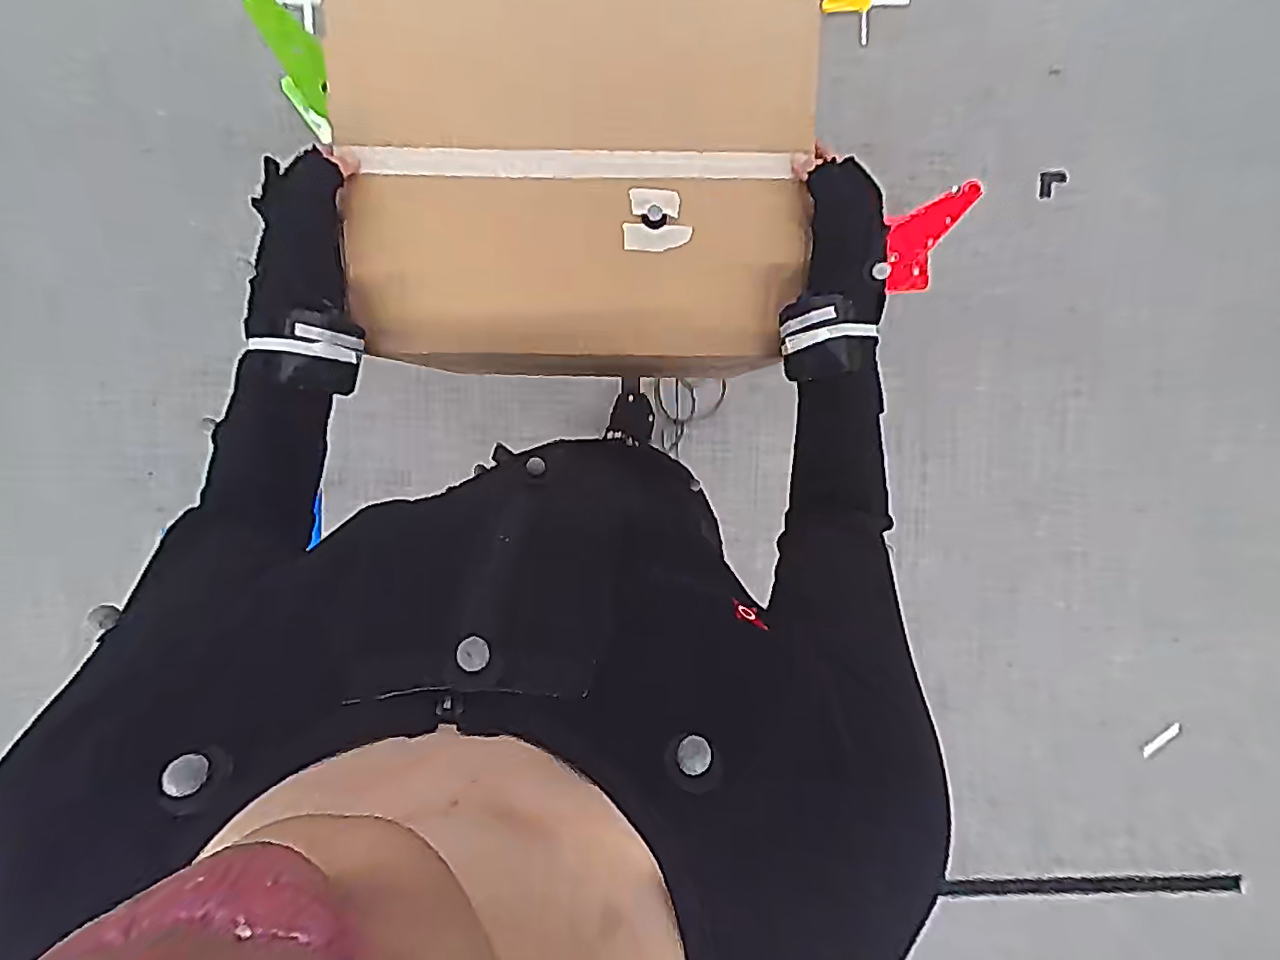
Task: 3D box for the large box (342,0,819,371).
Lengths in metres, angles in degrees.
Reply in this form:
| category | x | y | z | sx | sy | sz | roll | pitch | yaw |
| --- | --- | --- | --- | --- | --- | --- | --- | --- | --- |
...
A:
| category | x | y | z | sx | sy | sz | roll | pitch | yaw |
| --- | --- | --- | --- | --- | --- | --- | --- | --- | --- |
| large box | -0.053 | -0.295 | 0.611 | 0.408 | 0.320 | 0.320 | 0 | 98 | -2 |

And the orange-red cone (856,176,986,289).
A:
| category | x | y | z | sx | sy | sz | roll | pitch | yaw |
| --- | --- | --- | --- | --- | --- | --- | --- | --- | --- |
| orange-red cone | 0.680 | -0.607 | 1.273 | 0.198 | 0.360 | 0.199 | -2 | 91 | -2 |

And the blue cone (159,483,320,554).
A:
| category | x | y | z | sx | sy | sz | roll | pitch | yaw |
| --- | --- | --- | --- | --- | --- | --- | --- | --- | --- |
| blue cone | -0.960 | 0.110 | 1.295 | 0.192 | 0.380 | 0.193 | 3 | 92 | 0 |

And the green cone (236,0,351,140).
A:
| category | x | y | z | sx | sy | sz | roll | pitch | yaw |
| --- | --- | --- | --- | --- | --- | --- | --- | --- | --- |
| green cone | -0.804 | -1.010 | 1.237 | 0.202 | 0.368 | 0.200 | -37 | 91 | 2 |
